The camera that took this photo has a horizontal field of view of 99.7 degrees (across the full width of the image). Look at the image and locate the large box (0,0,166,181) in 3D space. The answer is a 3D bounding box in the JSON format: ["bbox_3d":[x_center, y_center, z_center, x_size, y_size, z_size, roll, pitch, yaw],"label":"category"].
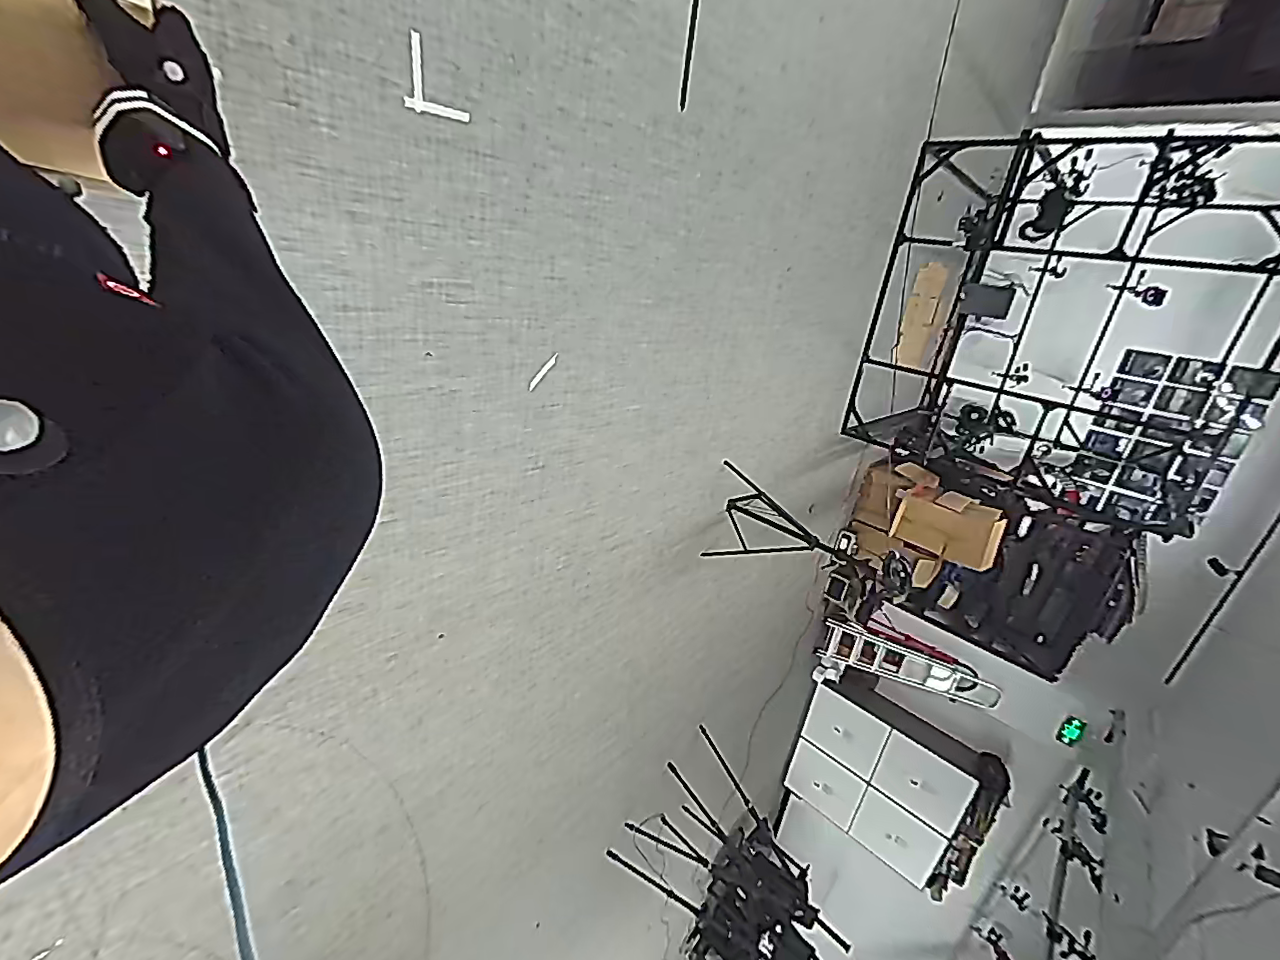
[{"bbox_3d":[-0.677,-0.453,0.417,0.408,0.320,0.320,-11,118,-48],"label":"large box"}]
